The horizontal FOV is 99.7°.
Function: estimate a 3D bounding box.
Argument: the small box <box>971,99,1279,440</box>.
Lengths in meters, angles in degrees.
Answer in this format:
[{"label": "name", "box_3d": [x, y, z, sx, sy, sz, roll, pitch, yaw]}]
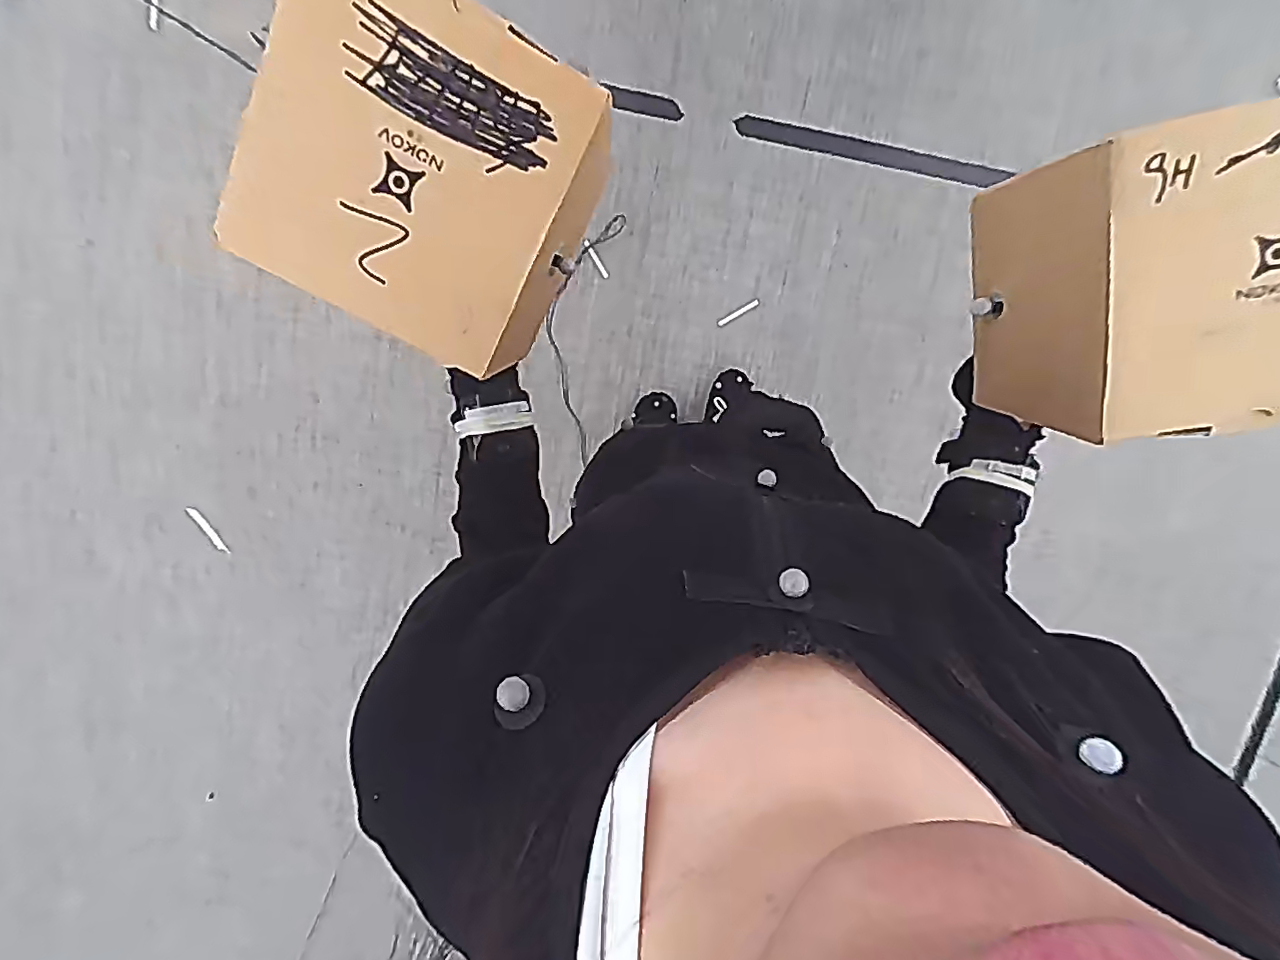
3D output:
[{"label": "small box", "box_3d": [0.358, -0.142, 0.380, 0.168, 0.176, 0.179, -9, 107, 9]}]
